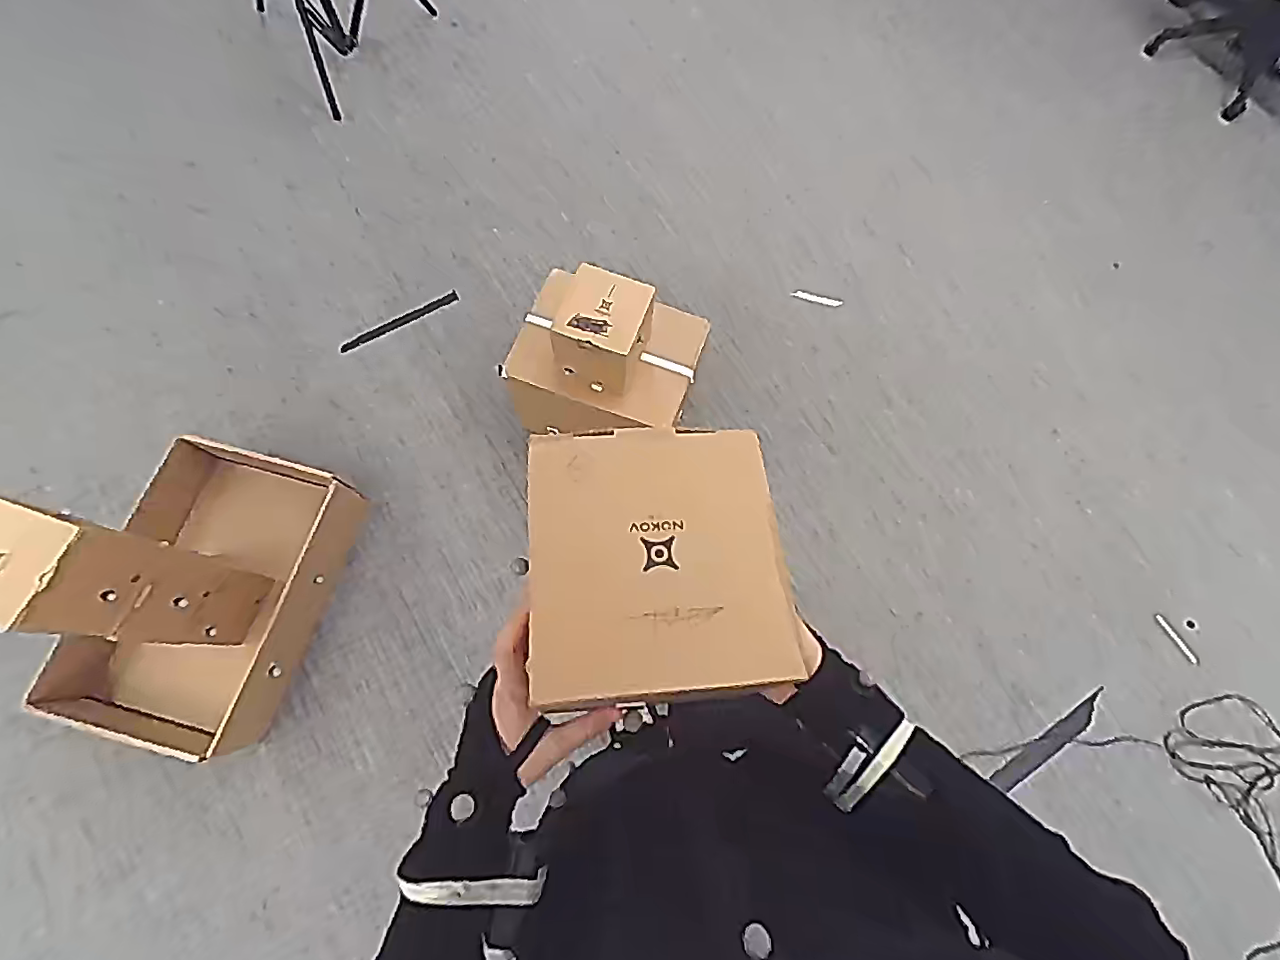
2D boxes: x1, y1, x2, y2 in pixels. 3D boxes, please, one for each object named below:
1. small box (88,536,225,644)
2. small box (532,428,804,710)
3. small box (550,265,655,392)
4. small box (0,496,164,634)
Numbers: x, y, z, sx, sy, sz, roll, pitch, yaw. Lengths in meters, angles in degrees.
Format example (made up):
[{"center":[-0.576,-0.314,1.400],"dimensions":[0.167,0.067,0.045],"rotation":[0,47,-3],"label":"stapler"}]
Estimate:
[{"center":[-0.966,0.207,1.042],"dimensions":[0.179,0.176,0.168],"rotation":[19,71,3],"label":"small box"},{"center":[0.003,0.076,0.422],"dimensions":[0.168,0.176,0.179],"rotation":[-2,65,-8],"label":"small box"},{"center":[-0.077,-0.315,1.155],"dimensions":[0.168,0.176,0.179],"rotation":[20,72,3],"label":"small box"},{"center":[-0.964,0.148,0.890],"dimensions":[0.179,0.176,0.168],"rotation":[18,71,3],"label":"small box"}]
